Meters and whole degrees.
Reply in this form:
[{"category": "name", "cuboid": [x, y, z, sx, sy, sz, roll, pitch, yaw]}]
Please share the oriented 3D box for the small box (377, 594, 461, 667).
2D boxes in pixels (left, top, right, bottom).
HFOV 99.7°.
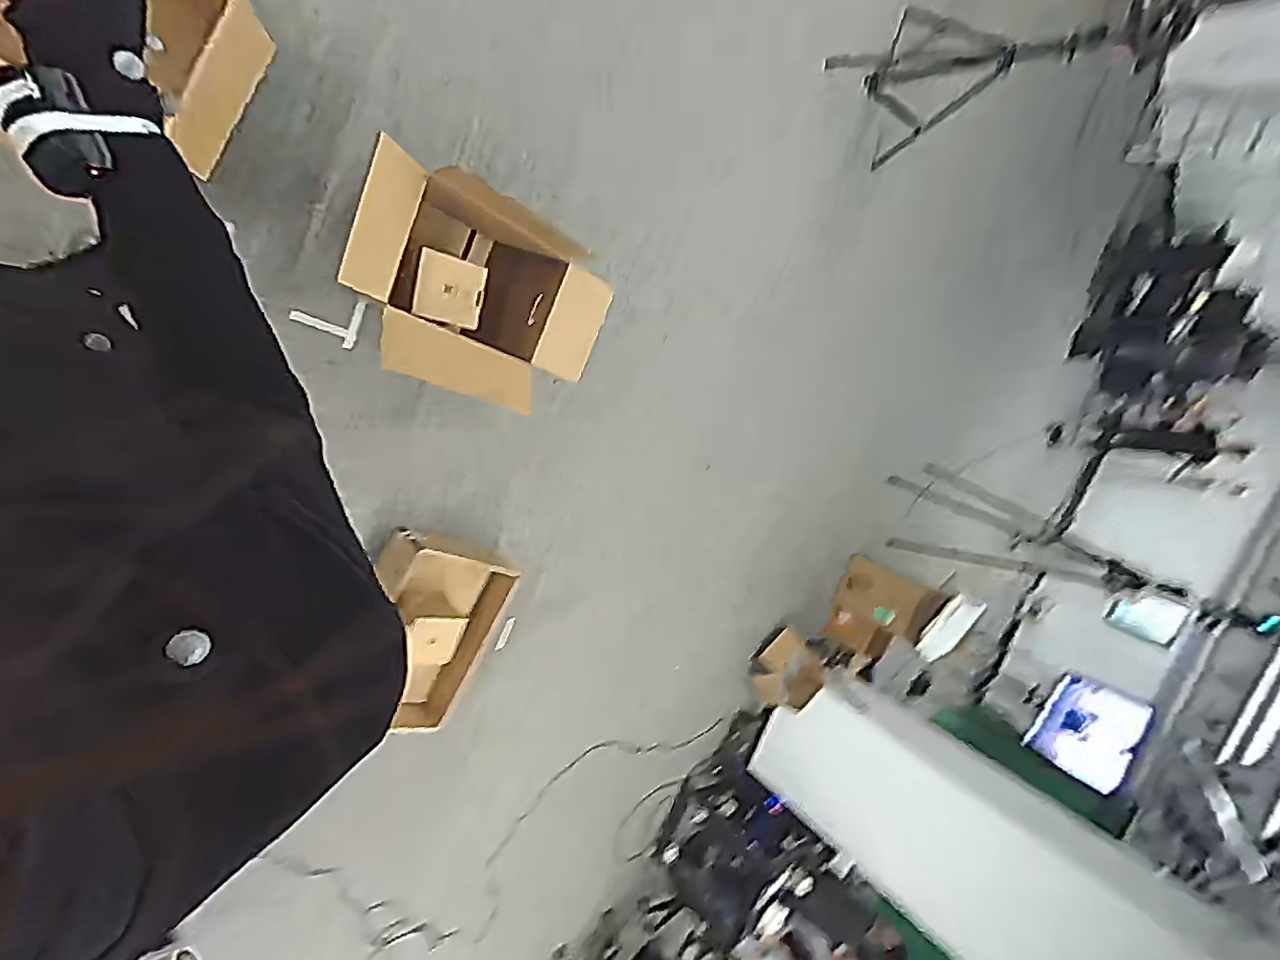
[{"category": "small box", "cuboid": [-0.713, 0.480, 1.734, 0.179, 0.176, 0.168, 20, 96, -46]}]
